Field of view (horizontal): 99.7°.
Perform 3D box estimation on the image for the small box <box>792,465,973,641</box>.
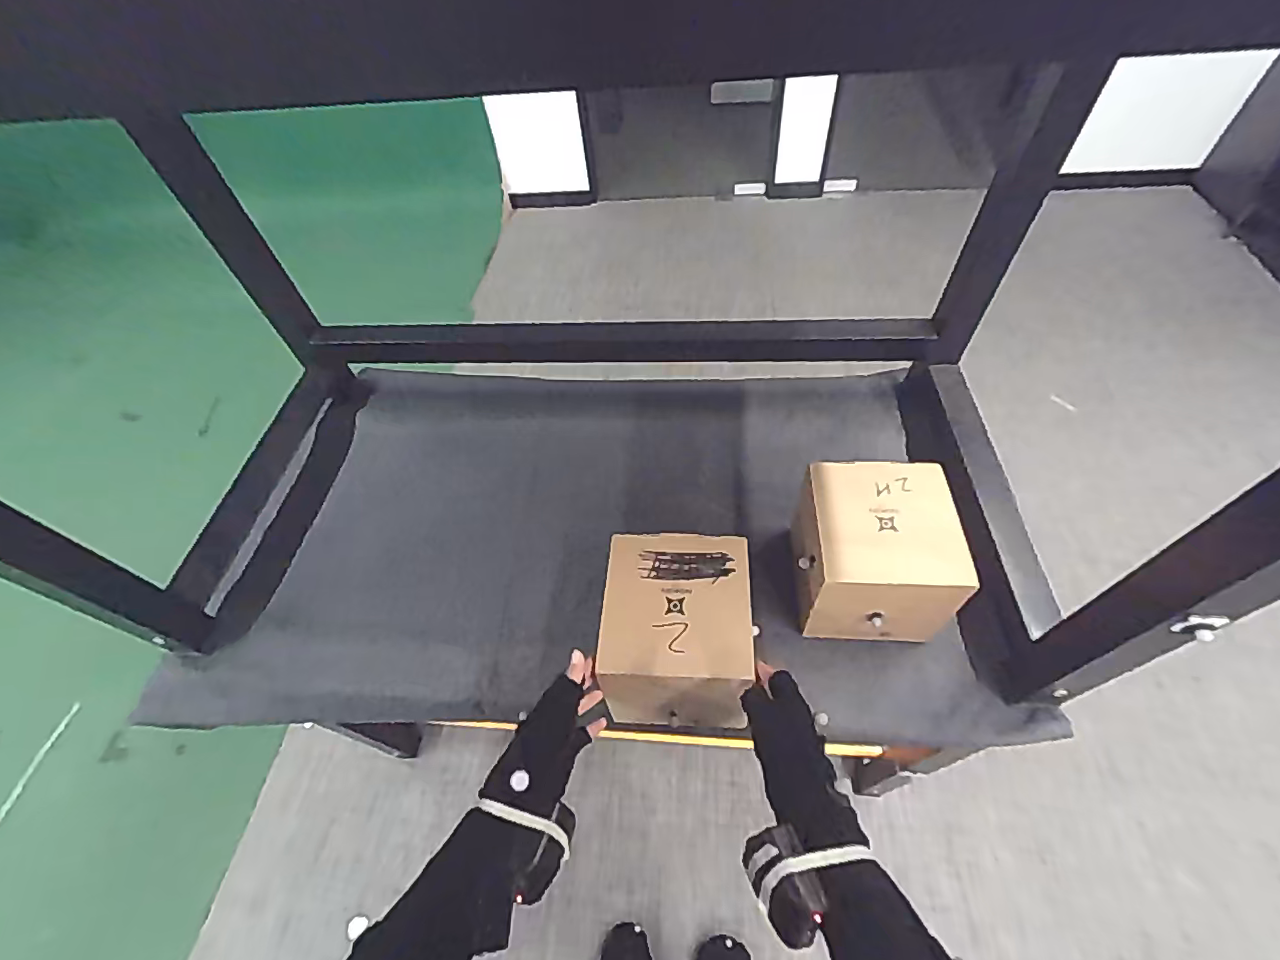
[{"bbox_3d":[0.301,0.100,0.715,0.168,0.176,0.179,1,52,6],"label":"small box"}]
